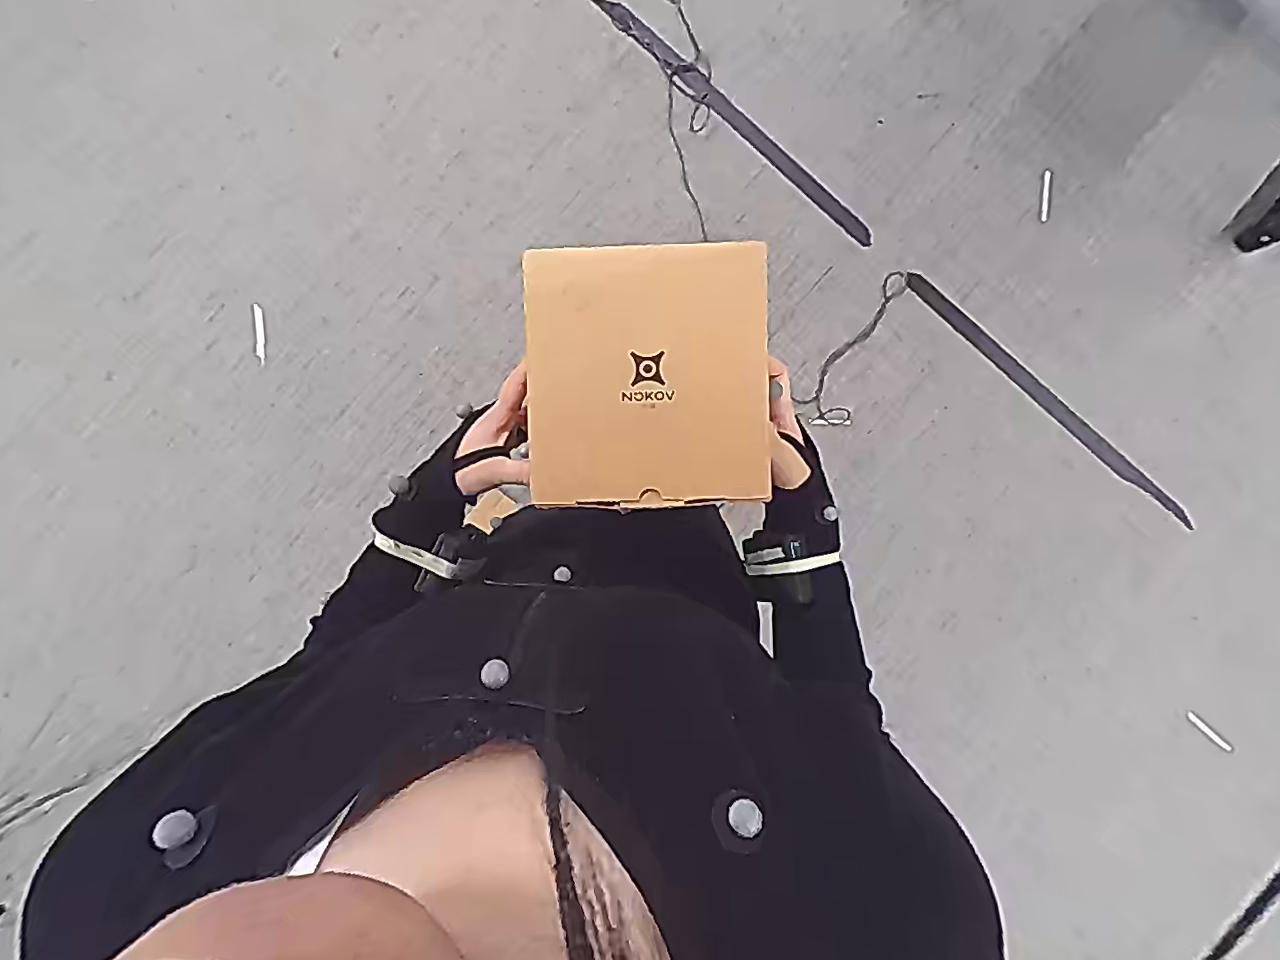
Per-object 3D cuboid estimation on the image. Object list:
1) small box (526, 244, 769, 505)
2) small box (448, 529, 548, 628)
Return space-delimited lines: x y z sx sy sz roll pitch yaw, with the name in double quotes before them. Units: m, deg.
"small box" 0.005 -0.074 0.446 0.168 0.176 0.179 -2 93 1
"small box" -0.355 0.247 1.396 0.168 0.176 0.179 40 89 -1
